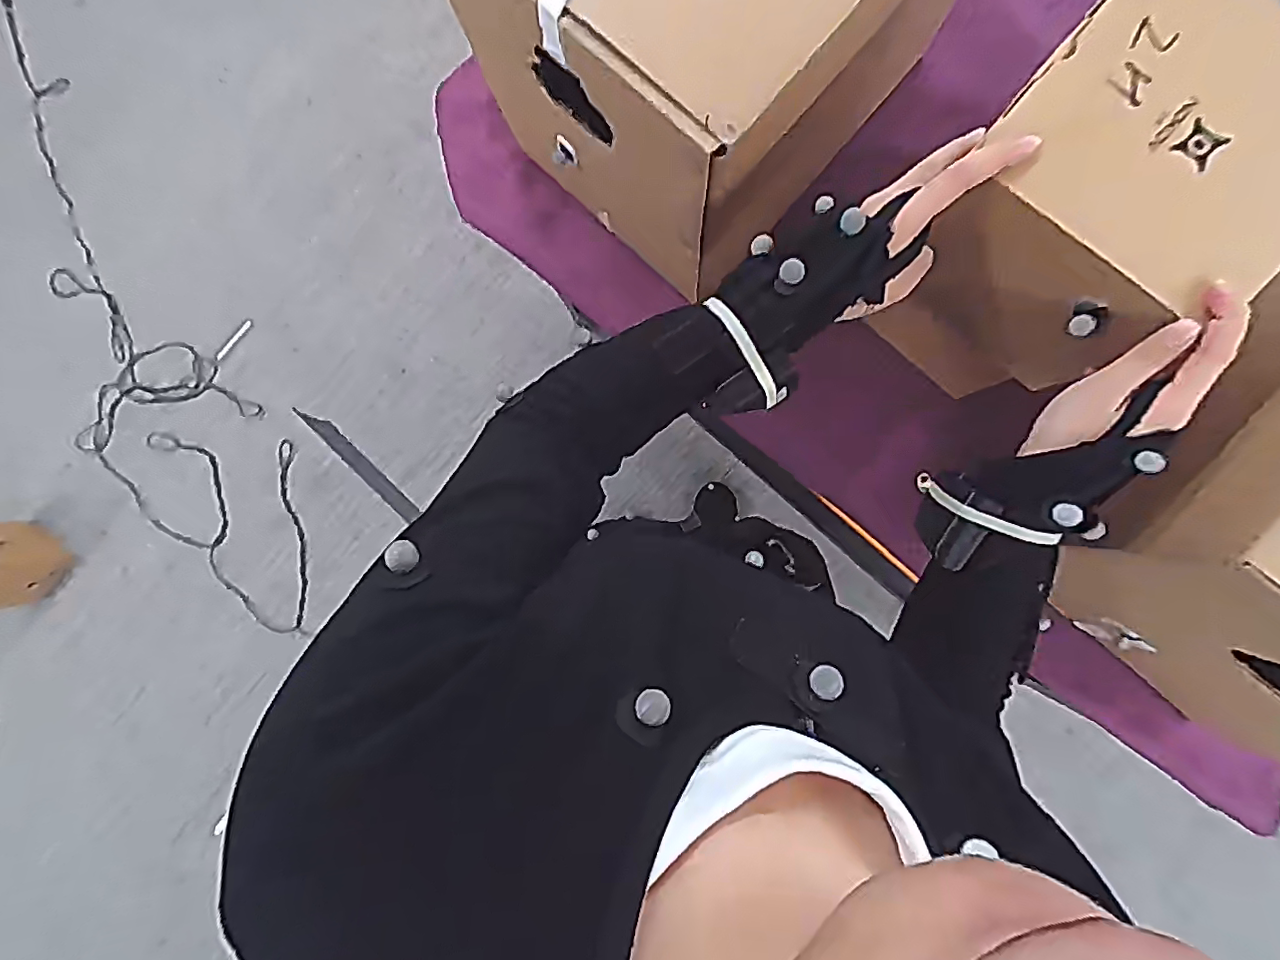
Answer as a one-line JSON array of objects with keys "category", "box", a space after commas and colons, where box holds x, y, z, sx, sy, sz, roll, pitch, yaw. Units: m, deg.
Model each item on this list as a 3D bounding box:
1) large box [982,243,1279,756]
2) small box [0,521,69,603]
[{"category": "large box", "box": [0.603, 0.008, 0.443, 0.320, 0.320, 0.408, 42, 91, 4]}, {"category": "small box", "box": [-1.727, 0.223, 1.455, 0.179, 0.176, 0.168, 36, 92, 5]}]
